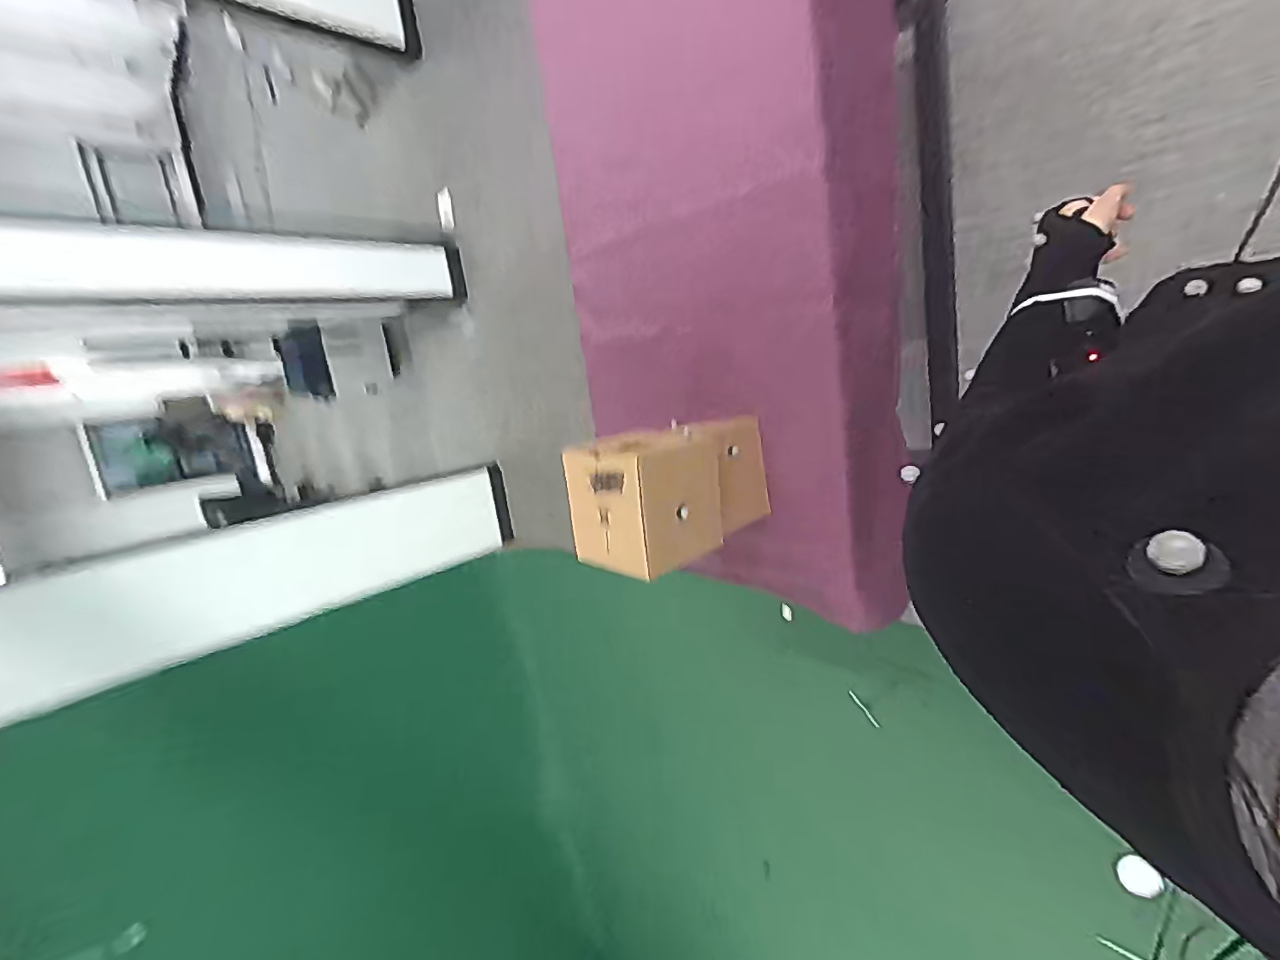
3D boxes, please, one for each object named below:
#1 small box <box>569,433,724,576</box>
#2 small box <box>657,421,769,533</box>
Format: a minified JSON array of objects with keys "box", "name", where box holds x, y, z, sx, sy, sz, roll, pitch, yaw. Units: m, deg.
[{"box":[0.014,0.025,0.843,0.168,0.176,0.179,7,110,46],"name":"small box"},{"box":[0.112,-0.010,0.973,0.168,0.176,0.179,0,103,47],"name":"small box"}]
